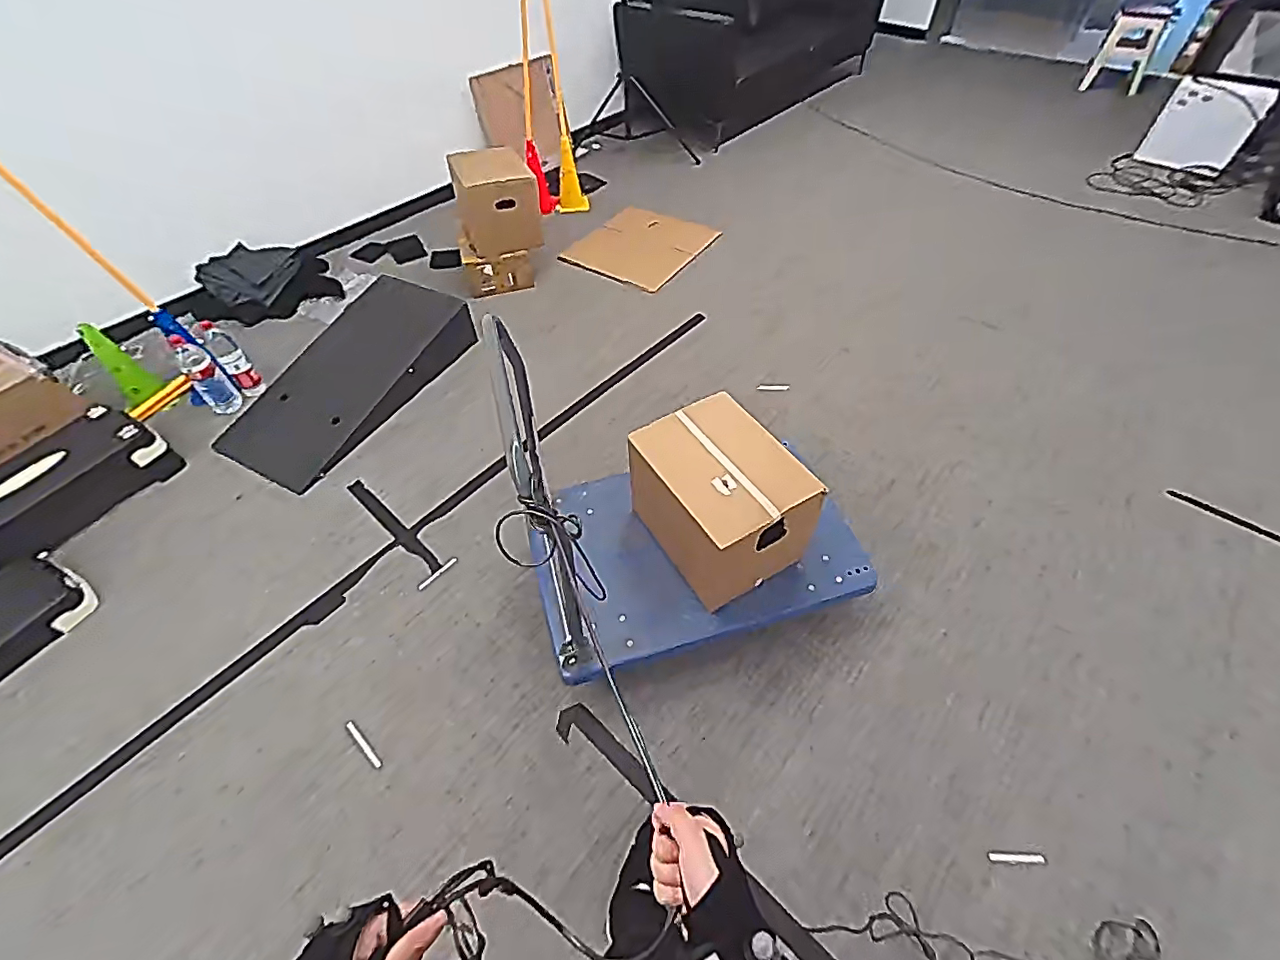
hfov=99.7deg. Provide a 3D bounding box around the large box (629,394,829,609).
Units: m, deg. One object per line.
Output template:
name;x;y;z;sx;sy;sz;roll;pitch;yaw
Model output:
large box;0.203;0.051;1.416;0.320;0.320;0.408;-27;56;-18
